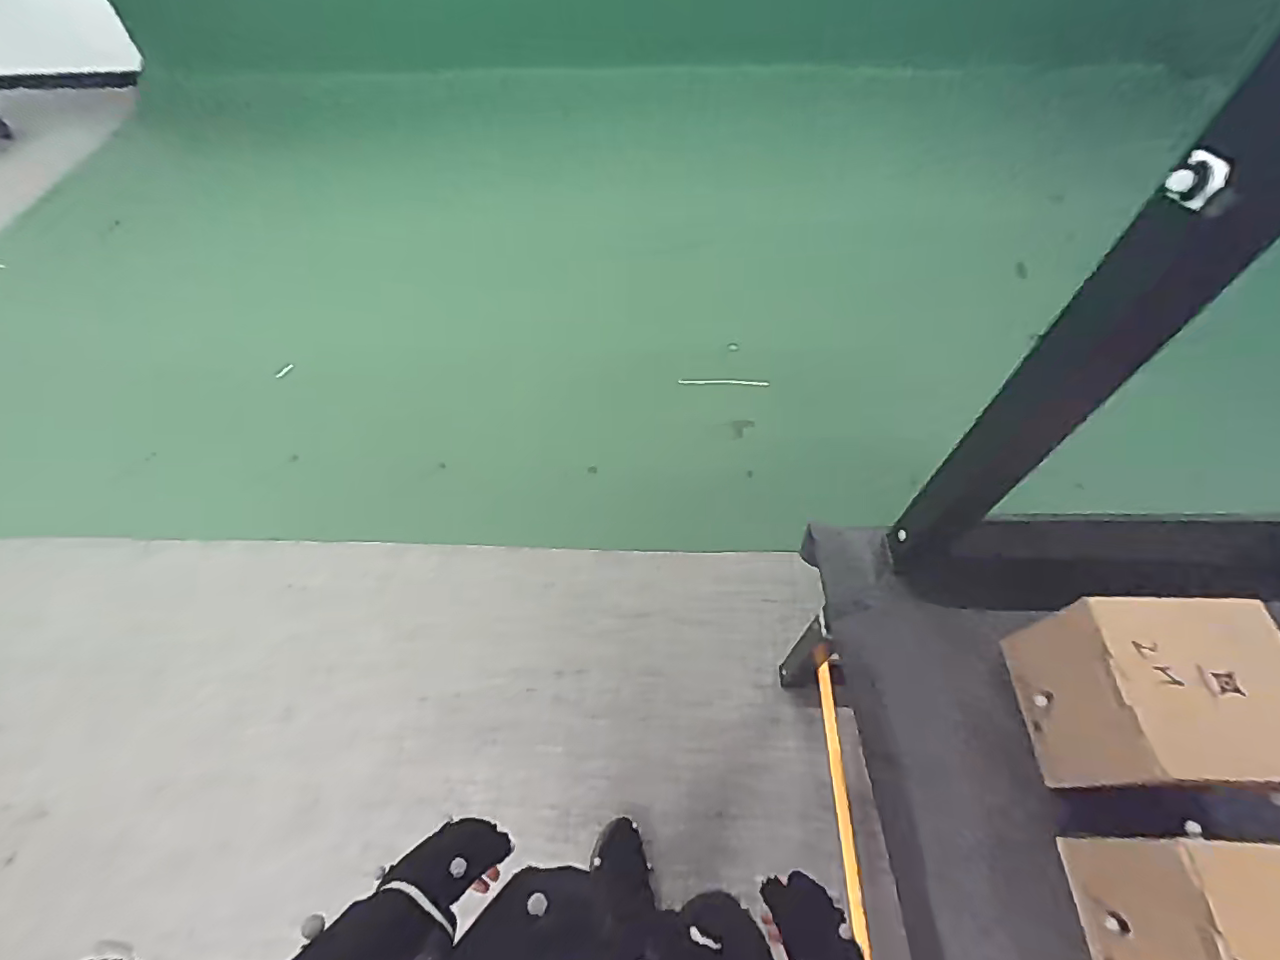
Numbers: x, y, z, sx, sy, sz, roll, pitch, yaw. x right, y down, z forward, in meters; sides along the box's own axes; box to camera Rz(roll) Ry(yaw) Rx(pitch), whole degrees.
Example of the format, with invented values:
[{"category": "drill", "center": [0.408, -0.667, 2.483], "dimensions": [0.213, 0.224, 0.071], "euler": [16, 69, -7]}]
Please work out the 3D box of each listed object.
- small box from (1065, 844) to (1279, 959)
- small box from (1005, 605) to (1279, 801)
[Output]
[{"category": "small box", "center": [0.530, 0.417, 0.464], "dimensions": [0.179, 0.176, 0.168], "euler": [0, 58, 3]}, {"category": "small box", "center": [0.541, 0.241, 0.574], "dimensions": [0.179, 0.176, 0.168], "euler": [1, 57, 2]}]
